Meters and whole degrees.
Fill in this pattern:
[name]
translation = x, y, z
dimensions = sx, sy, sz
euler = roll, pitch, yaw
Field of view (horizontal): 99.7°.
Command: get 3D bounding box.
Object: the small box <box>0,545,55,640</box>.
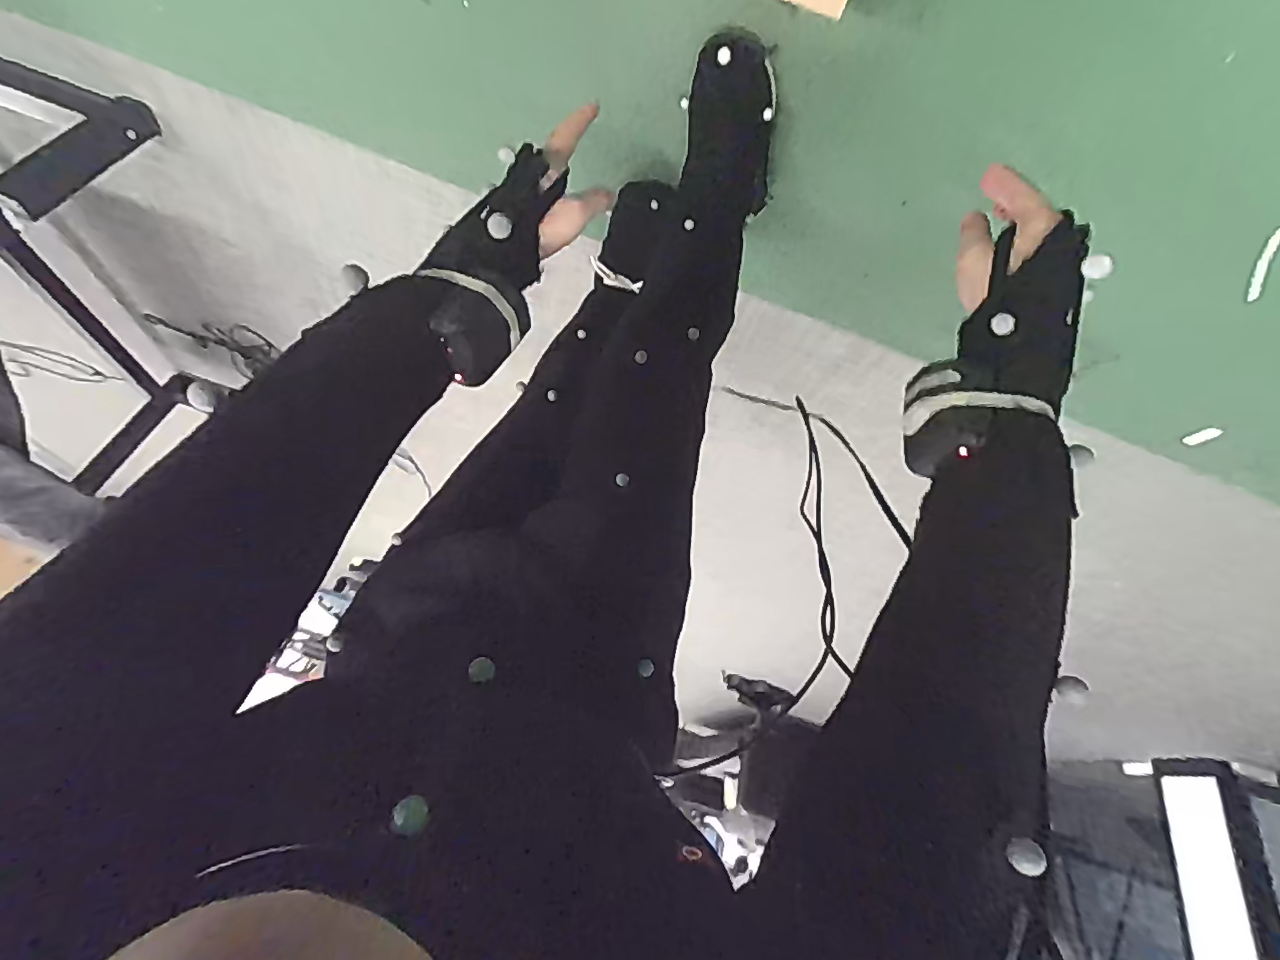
[small box]
translation = -1.408, 0.215, 1.132
dimensions = 0.179, 0.176, 0.168
euler = 17, 150, 2
